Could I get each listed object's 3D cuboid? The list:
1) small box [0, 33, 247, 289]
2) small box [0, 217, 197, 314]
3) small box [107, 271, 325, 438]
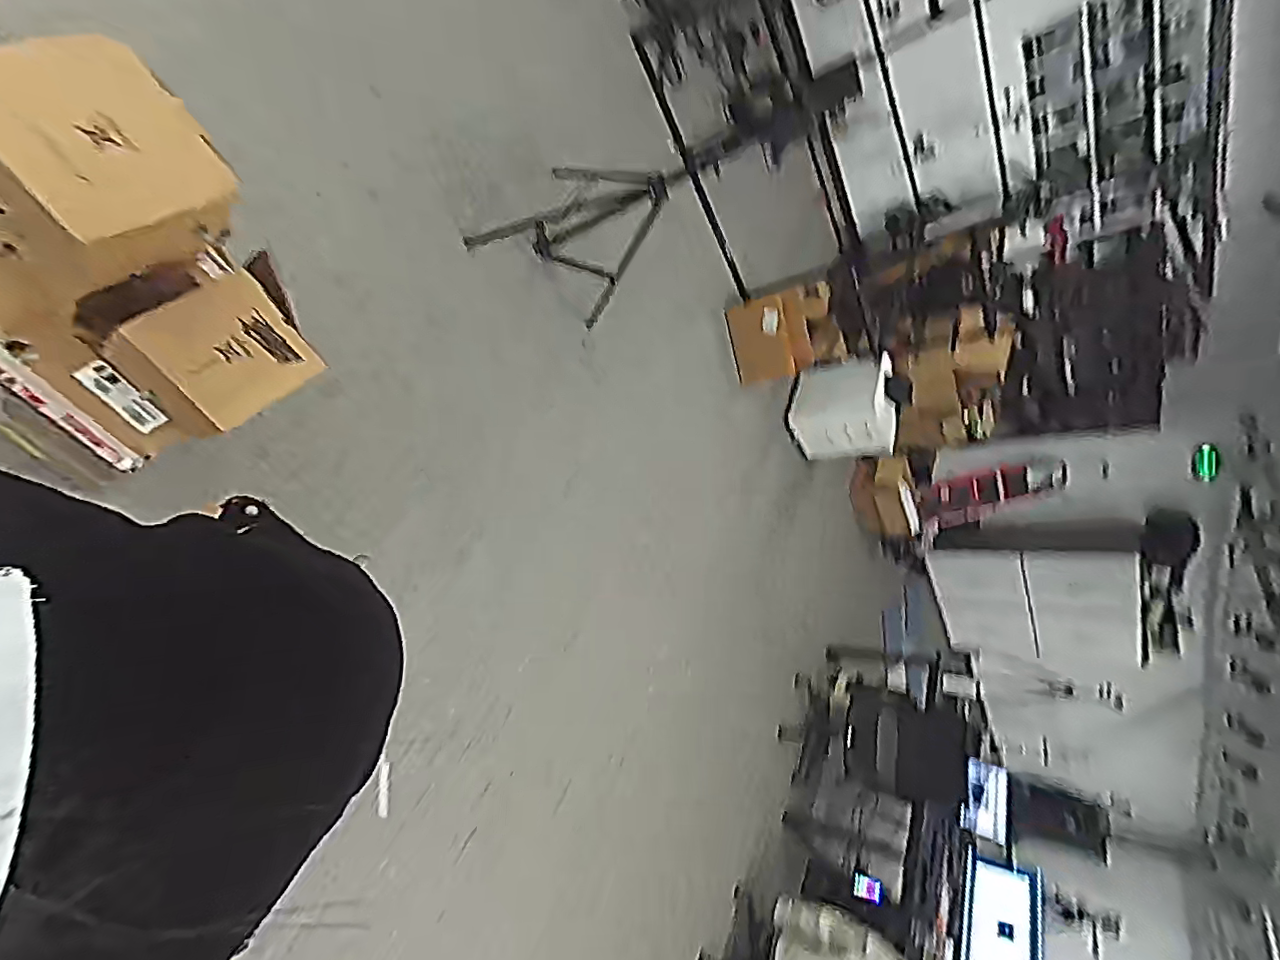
[{"bbox_3d":[-0.591,-0.338,0.593,0.179,0.176,0.168,-52,122,-36],"label":"small box"},{"bbox_3d":[-0.714,-0.340,0.700,0.179,0.176,0.168,-52,123,-37],"label":"small box"},{"bbox_3d":[-0.622,-0.179,0.797,0.179,0.176,0.168,-53,127,-37],"label":"small box"}]
